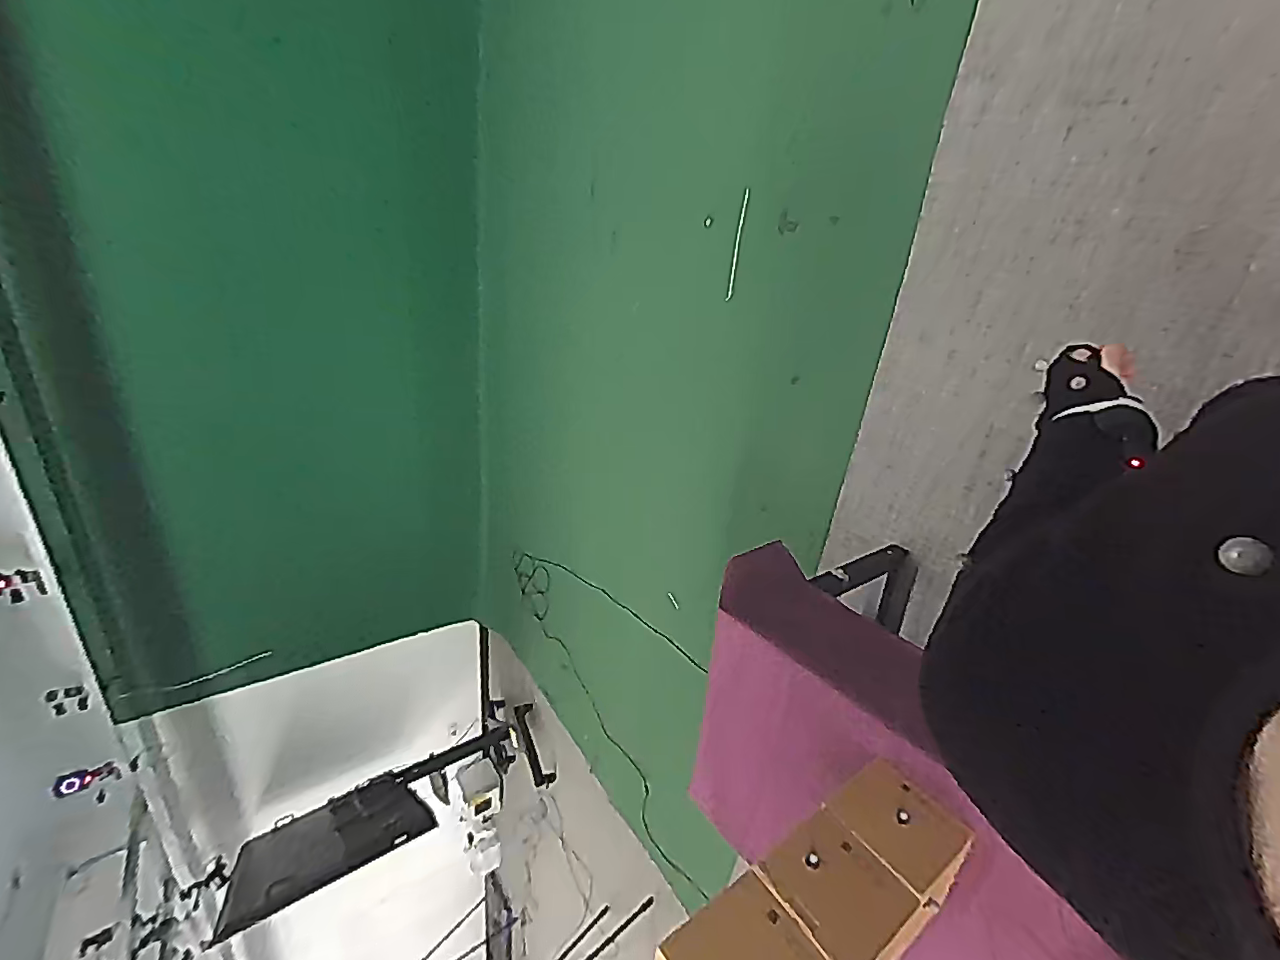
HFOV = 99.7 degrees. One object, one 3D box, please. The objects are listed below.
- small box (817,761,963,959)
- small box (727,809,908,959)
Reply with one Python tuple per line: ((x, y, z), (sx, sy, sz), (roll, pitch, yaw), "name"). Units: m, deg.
((0.389, 0.602, 0.876), (0.168, 0.176, 0.179), (33, 124, 47), "small box")
((0.256, 0.629, 0.785), (0.168, 0.176, 0.179), (35, 126, 46), "small box")
